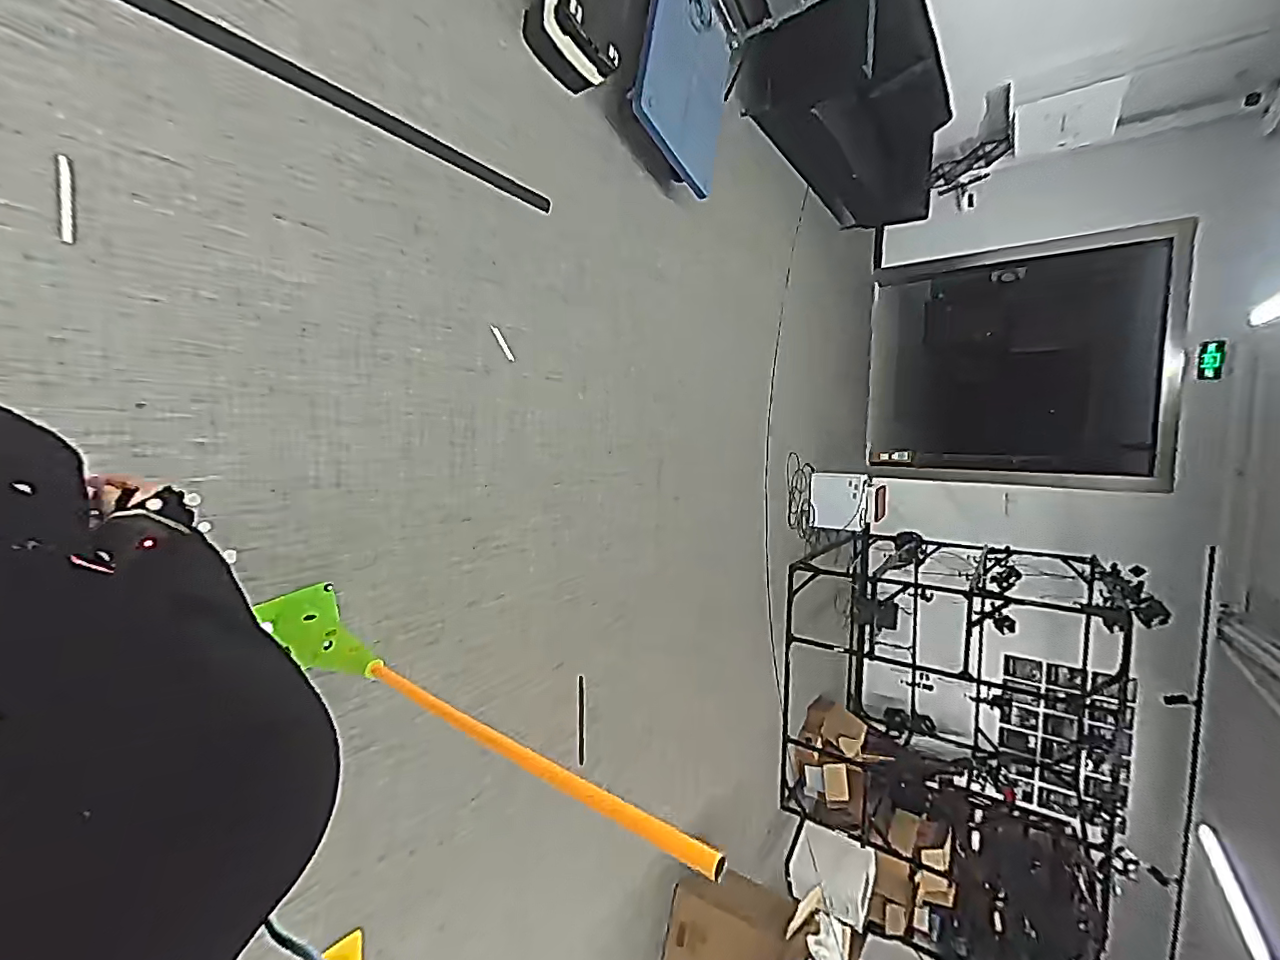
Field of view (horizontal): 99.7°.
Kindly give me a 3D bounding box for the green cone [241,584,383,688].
[{"bbox_3d":[-0.698,0.388,1.212,0.200,0.368,0.202,-21,112,-52],"label":"green cone"}]
